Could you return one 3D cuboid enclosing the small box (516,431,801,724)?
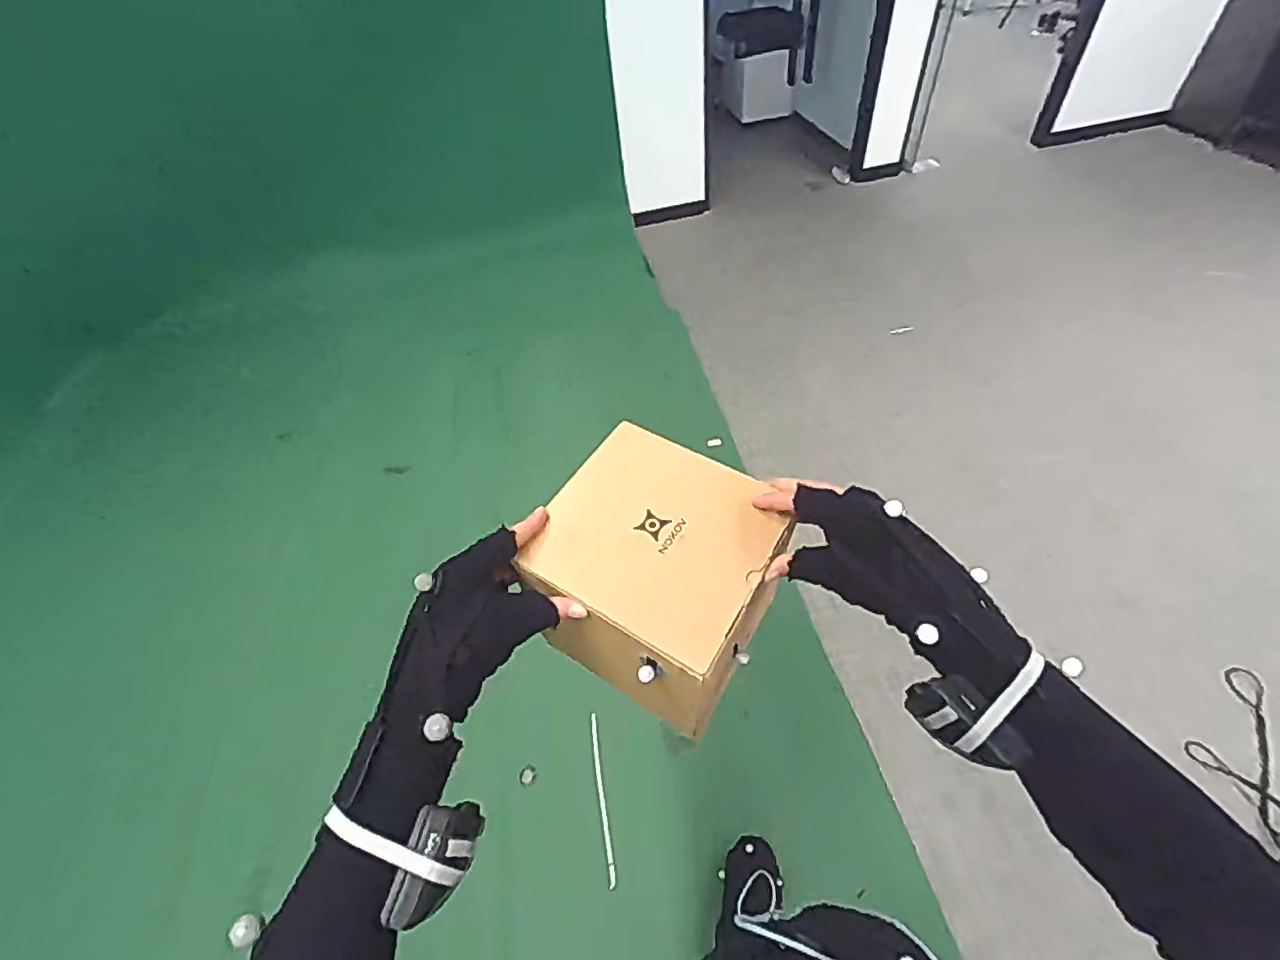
[{"bbox_3d":[0.018,0.092,0.494,0.179,0.176,0.168,27,57,20],"label":"small box"}]
